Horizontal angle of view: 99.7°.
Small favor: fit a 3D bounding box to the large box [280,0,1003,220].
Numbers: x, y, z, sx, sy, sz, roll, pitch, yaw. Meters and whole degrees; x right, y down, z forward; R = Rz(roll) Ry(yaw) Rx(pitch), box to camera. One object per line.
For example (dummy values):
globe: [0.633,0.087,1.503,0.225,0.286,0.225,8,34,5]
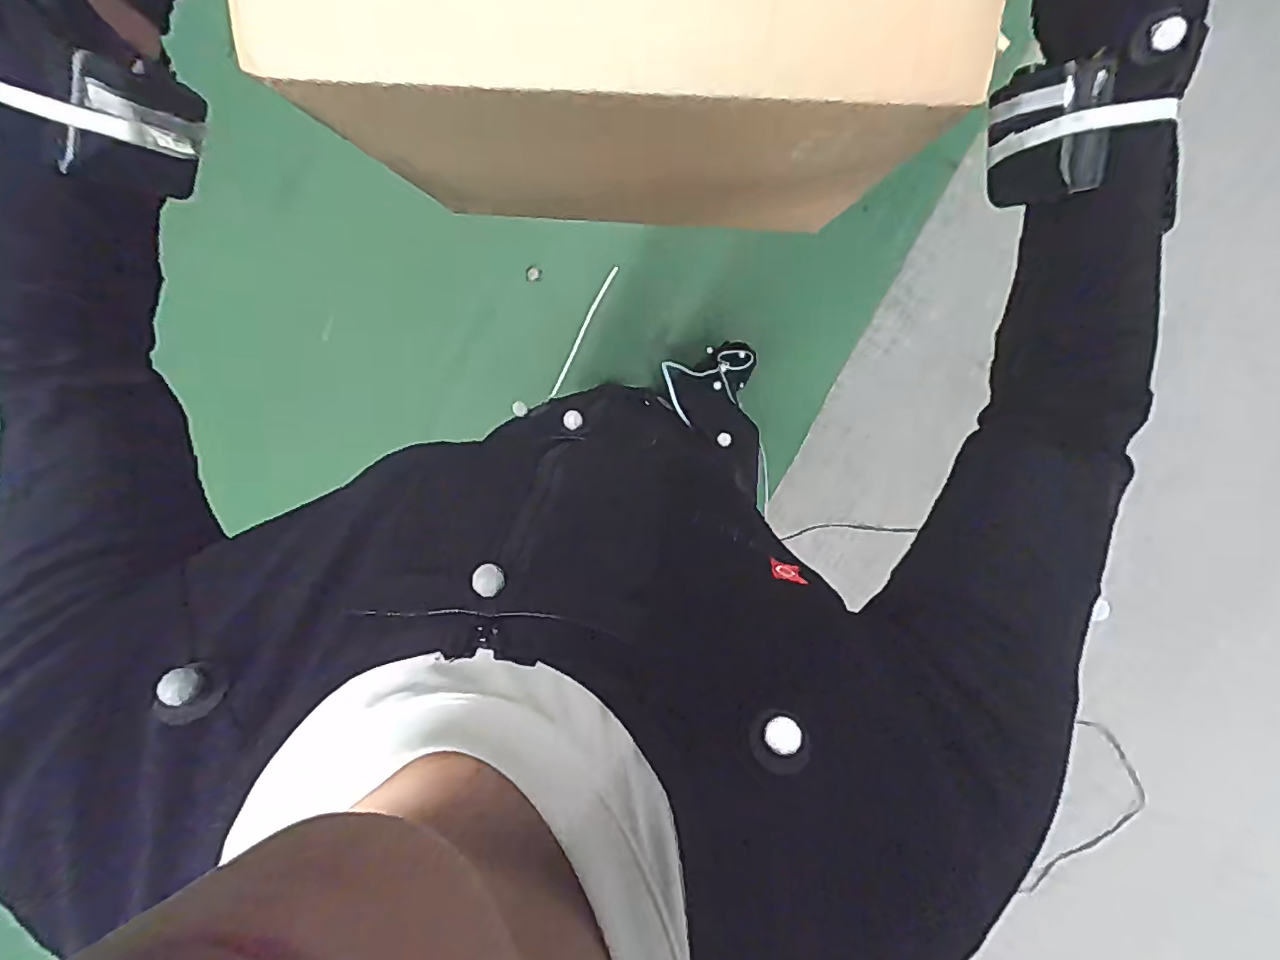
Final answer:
large box: [0.006,-0.404,0.415,0.408,0.320,0.320,3,104,1]
